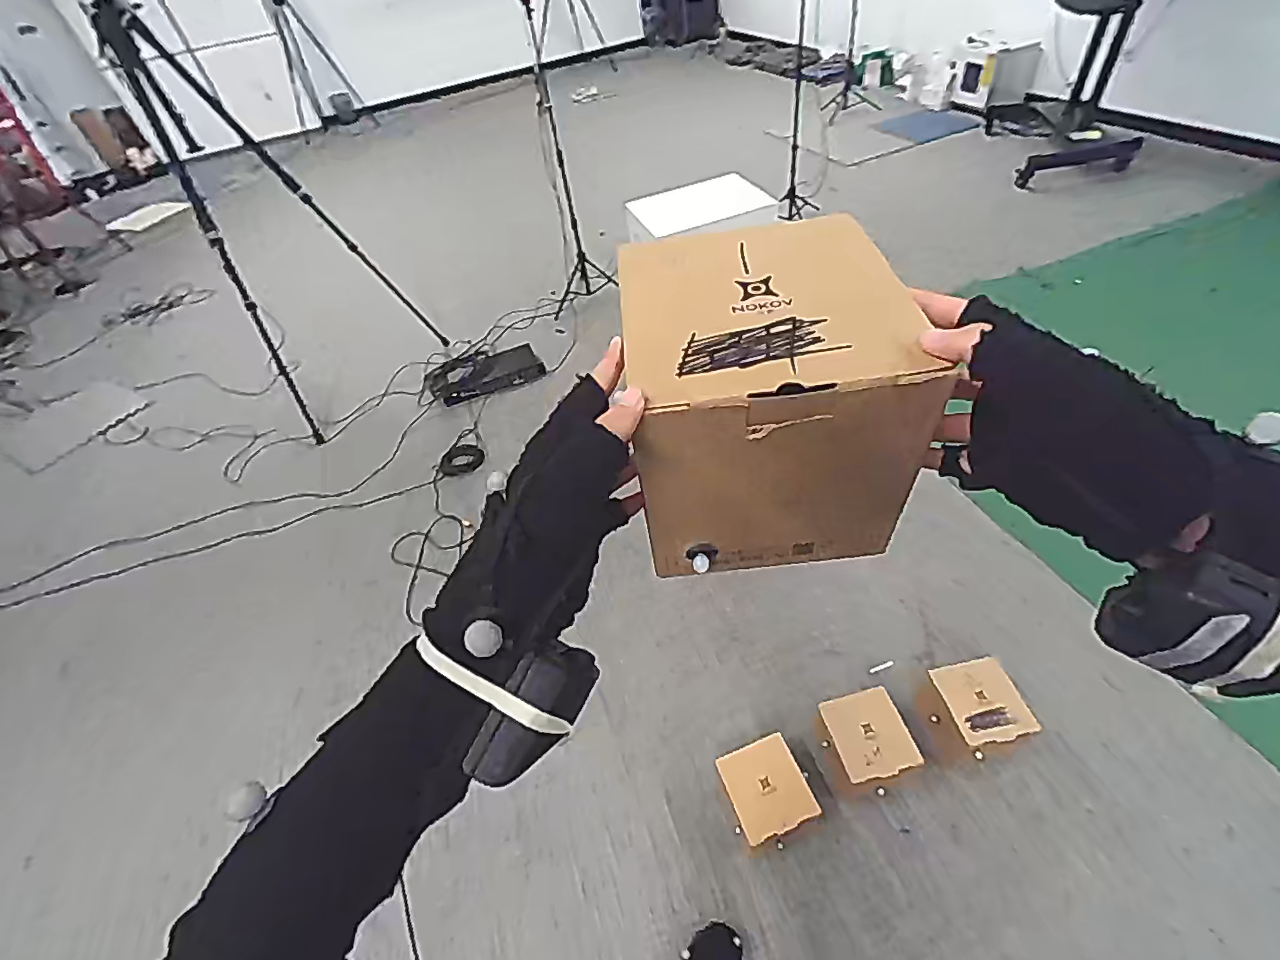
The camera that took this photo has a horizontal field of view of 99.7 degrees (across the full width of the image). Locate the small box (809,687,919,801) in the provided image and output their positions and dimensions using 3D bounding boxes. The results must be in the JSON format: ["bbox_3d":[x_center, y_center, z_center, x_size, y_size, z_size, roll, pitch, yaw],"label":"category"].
[{"bbox_3d":[0.507,0.614,1.257,0.168,0.176,0.179,-14,48,-3],"label":"small box"}]

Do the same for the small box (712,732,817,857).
[{"bbox_3d":[0.271,0.707,1.214,0.168,0.176,0.179,-20,48,-8],"label":"small box"}]
